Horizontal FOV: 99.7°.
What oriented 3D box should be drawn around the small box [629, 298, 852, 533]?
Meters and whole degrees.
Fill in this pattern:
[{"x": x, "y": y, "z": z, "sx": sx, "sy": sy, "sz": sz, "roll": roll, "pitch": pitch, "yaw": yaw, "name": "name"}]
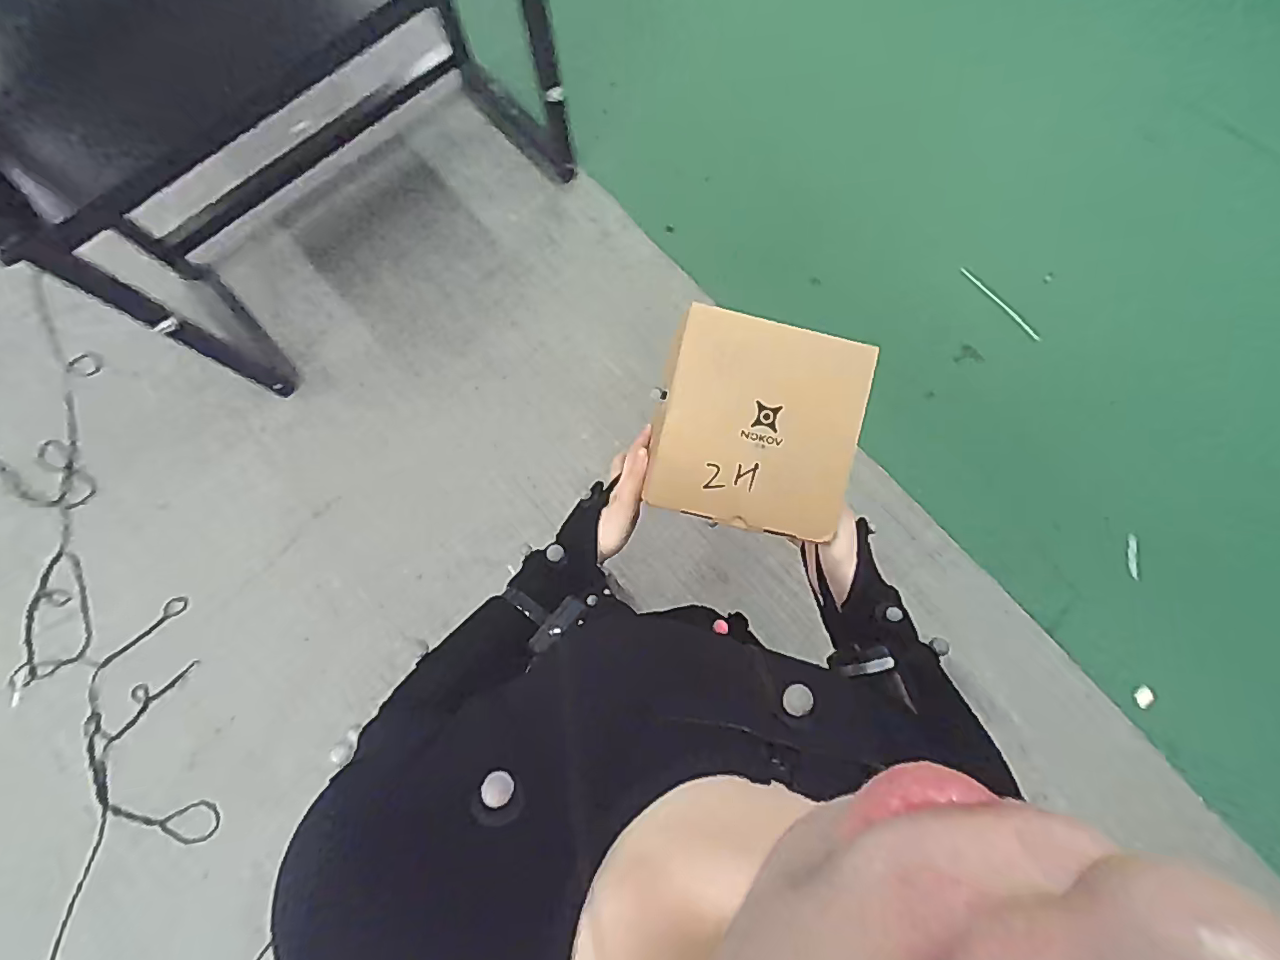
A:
[{"x": 0.084, "y": -0.059, "z": 0.547, "sx": 0.168, "sy": 0.176, "sz": 0.179, "roll": 12, "pitch": 93, "yaw": -3, "name": "small box"}]
